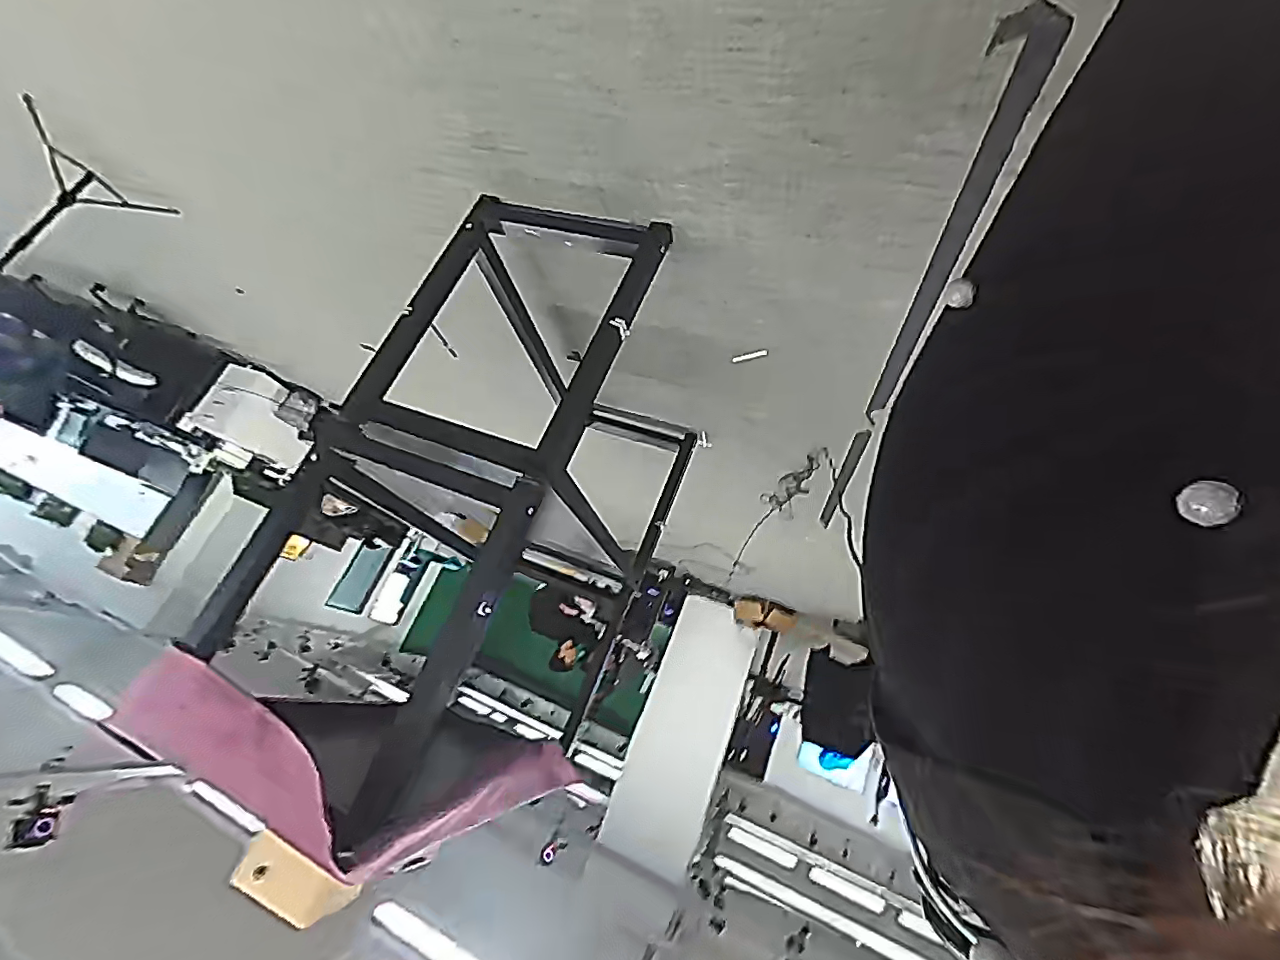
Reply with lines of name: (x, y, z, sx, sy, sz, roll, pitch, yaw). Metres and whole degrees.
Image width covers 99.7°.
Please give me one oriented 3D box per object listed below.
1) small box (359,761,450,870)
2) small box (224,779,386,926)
small box: (-0.615, 0.846, 1.384, 0.179, 0.176, 0.168, 17, 161, 22)
small box: (-0.654, 0.723, 1.078, 0.179, 0.176, 0.168, 19, 162, 13)
